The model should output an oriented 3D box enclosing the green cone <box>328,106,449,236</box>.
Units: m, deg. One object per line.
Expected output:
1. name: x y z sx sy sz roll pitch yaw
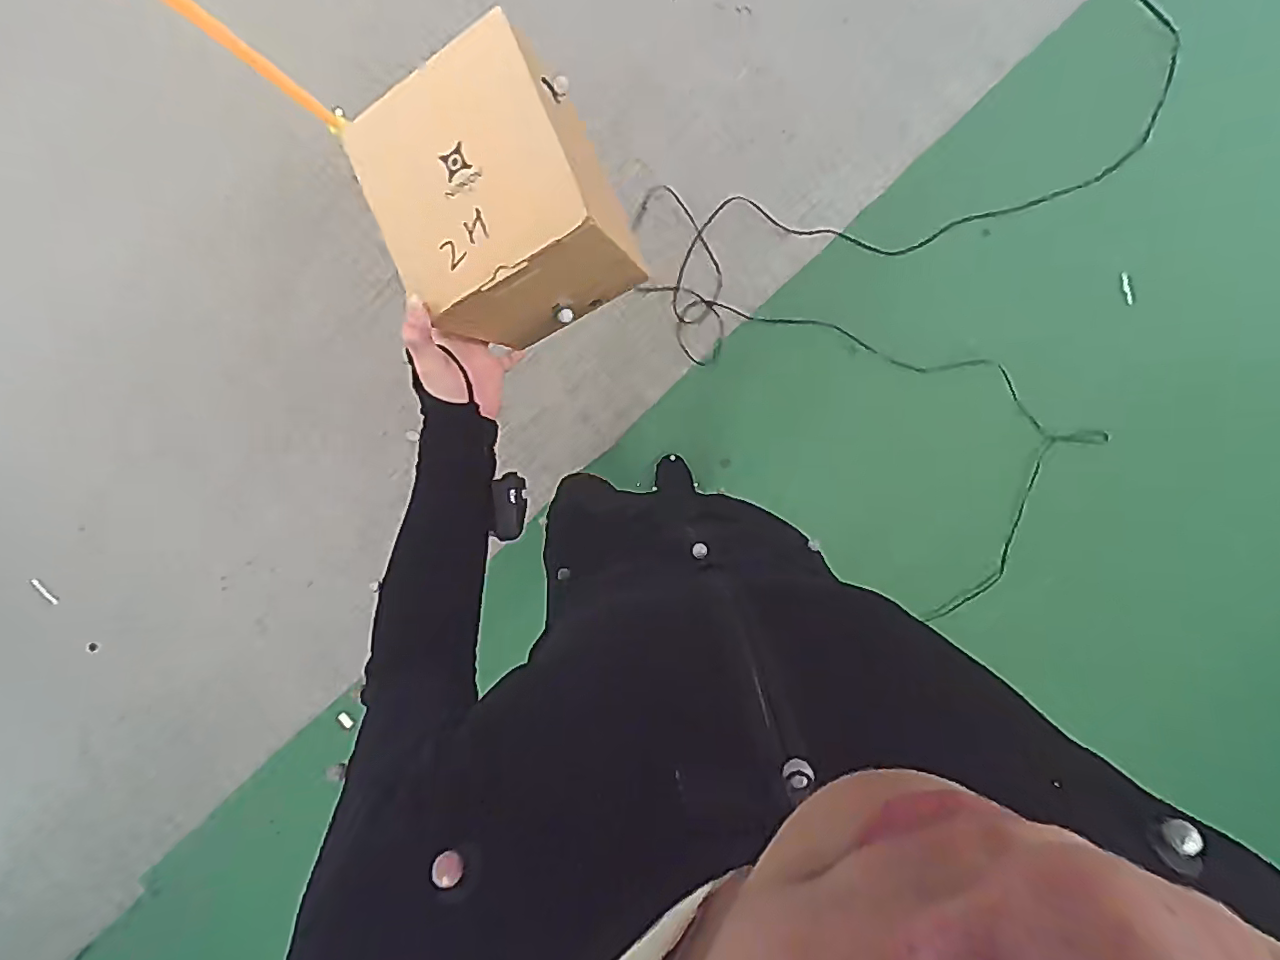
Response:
1. green cone: -0.675 -0.818 1.378 0.202 0.368 0.200 -41 93 3
